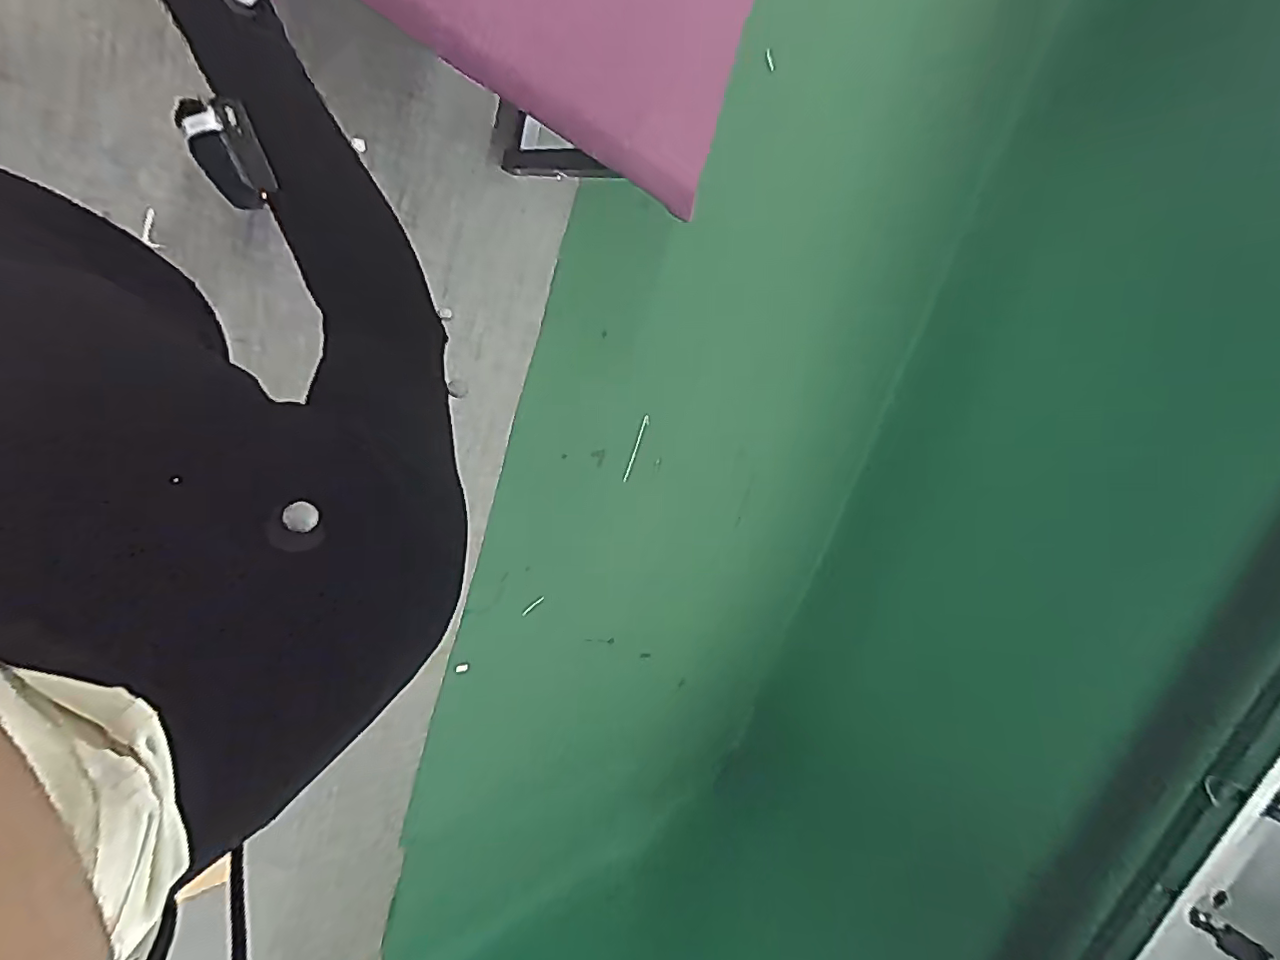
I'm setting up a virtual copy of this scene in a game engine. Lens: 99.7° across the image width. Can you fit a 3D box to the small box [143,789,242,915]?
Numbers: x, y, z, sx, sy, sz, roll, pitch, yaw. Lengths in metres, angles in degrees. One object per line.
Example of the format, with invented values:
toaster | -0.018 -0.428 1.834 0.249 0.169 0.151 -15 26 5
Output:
small box | -1.156 0.947 1.393 0.168 0.176 0.179 6 109 -49
